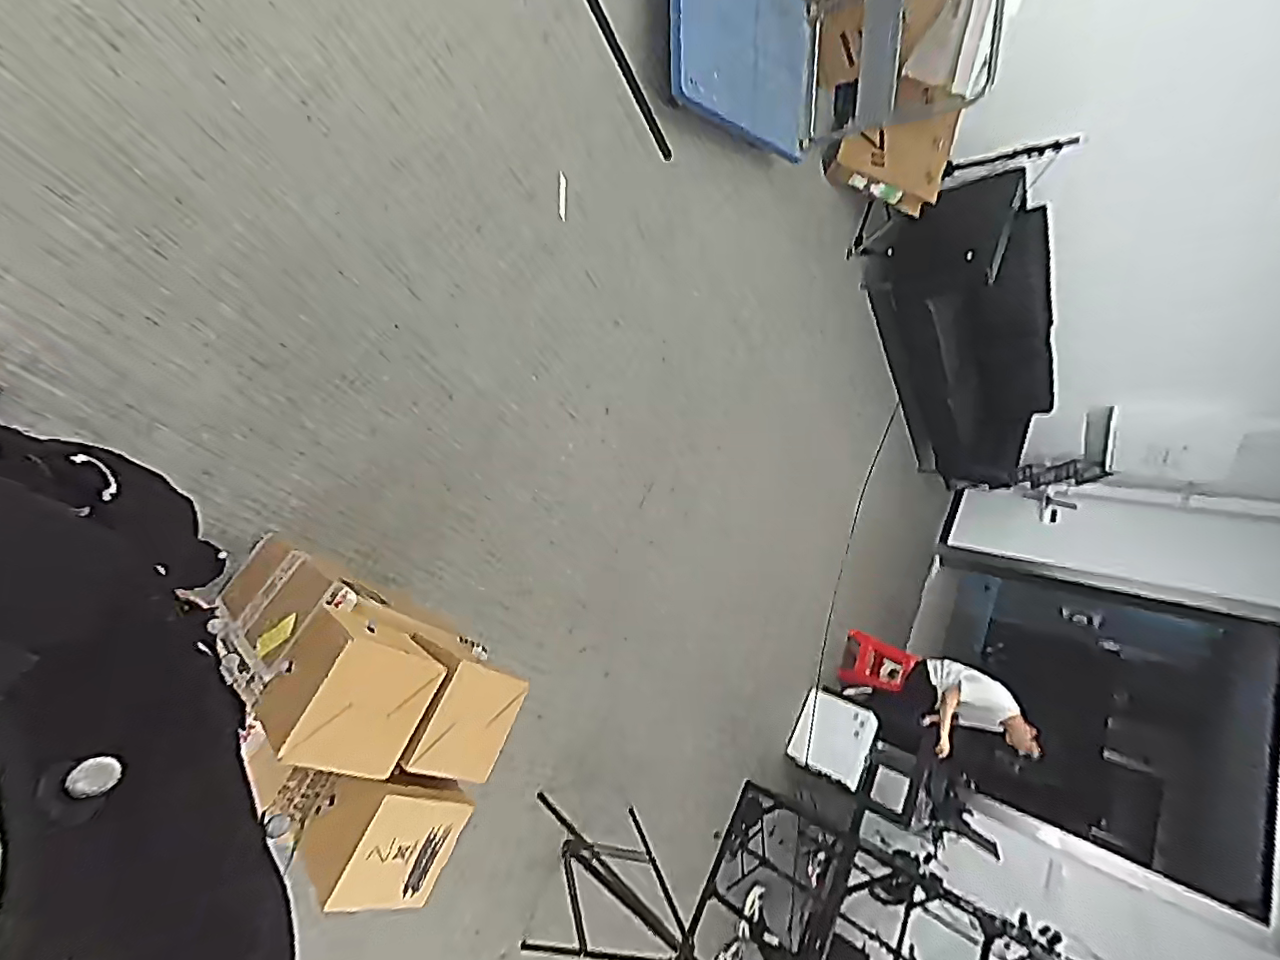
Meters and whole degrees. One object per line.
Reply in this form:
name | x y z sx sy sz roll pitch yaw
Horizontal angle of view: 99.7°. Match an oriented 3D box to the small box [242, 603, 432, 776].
small box | -0.457 0.316 0.828 0.168 0.176 0.179 43 66 -41
